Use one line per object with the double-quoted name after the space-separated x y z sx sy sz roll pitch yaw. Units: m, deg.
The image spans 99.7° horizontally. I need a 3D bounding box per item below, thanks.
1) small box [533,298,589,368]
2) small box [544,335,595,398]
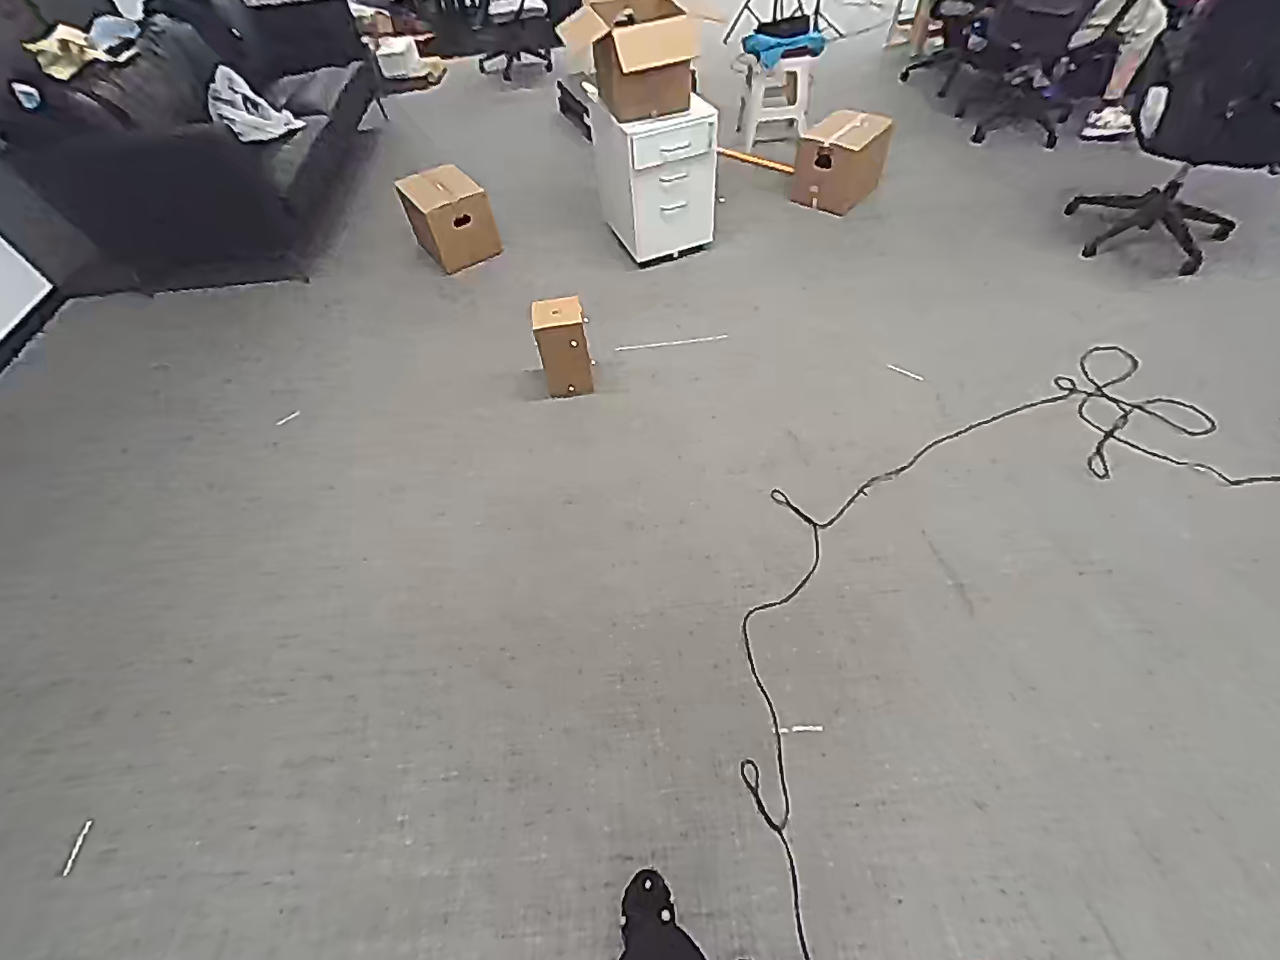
-0.283 -0.532 1.973 0.179 0.176 0.168 -10 51 0 "small box"
-0.272 -0.442 2.109 0.179 0.176 0.168 -7 52 0 "small box"
